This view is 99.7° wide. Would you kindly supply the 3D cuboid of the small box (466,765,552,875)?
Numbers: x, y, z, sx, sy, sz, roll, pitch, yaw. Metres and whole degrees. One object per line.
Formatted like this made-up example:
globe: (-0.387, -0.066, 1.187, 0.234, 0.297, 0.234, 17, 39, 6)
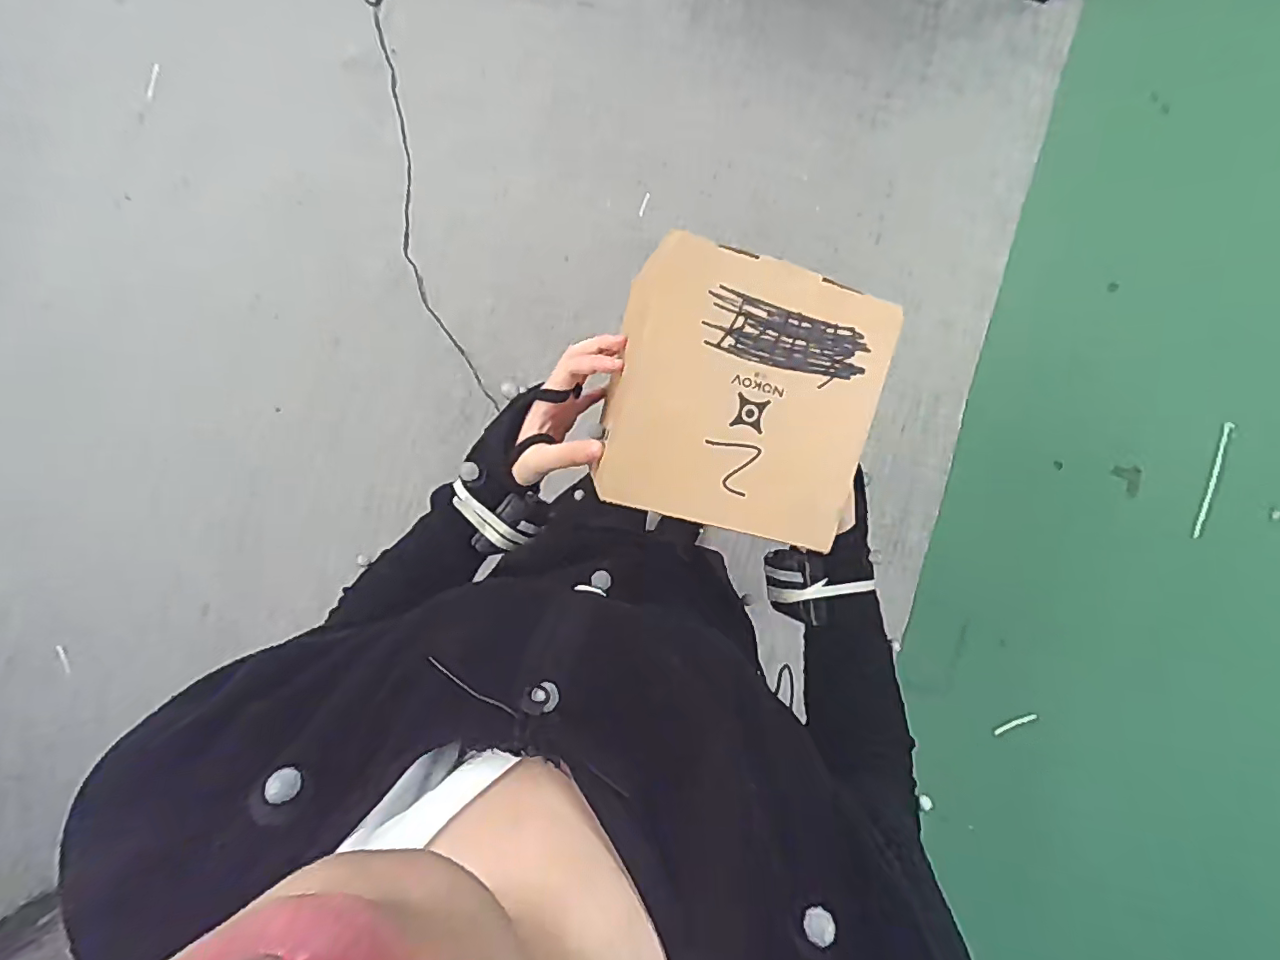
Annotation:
small box: (-0.339, 0.892, 1.437, 0.168, 0.176, 0.179, 10, 89, 4)
